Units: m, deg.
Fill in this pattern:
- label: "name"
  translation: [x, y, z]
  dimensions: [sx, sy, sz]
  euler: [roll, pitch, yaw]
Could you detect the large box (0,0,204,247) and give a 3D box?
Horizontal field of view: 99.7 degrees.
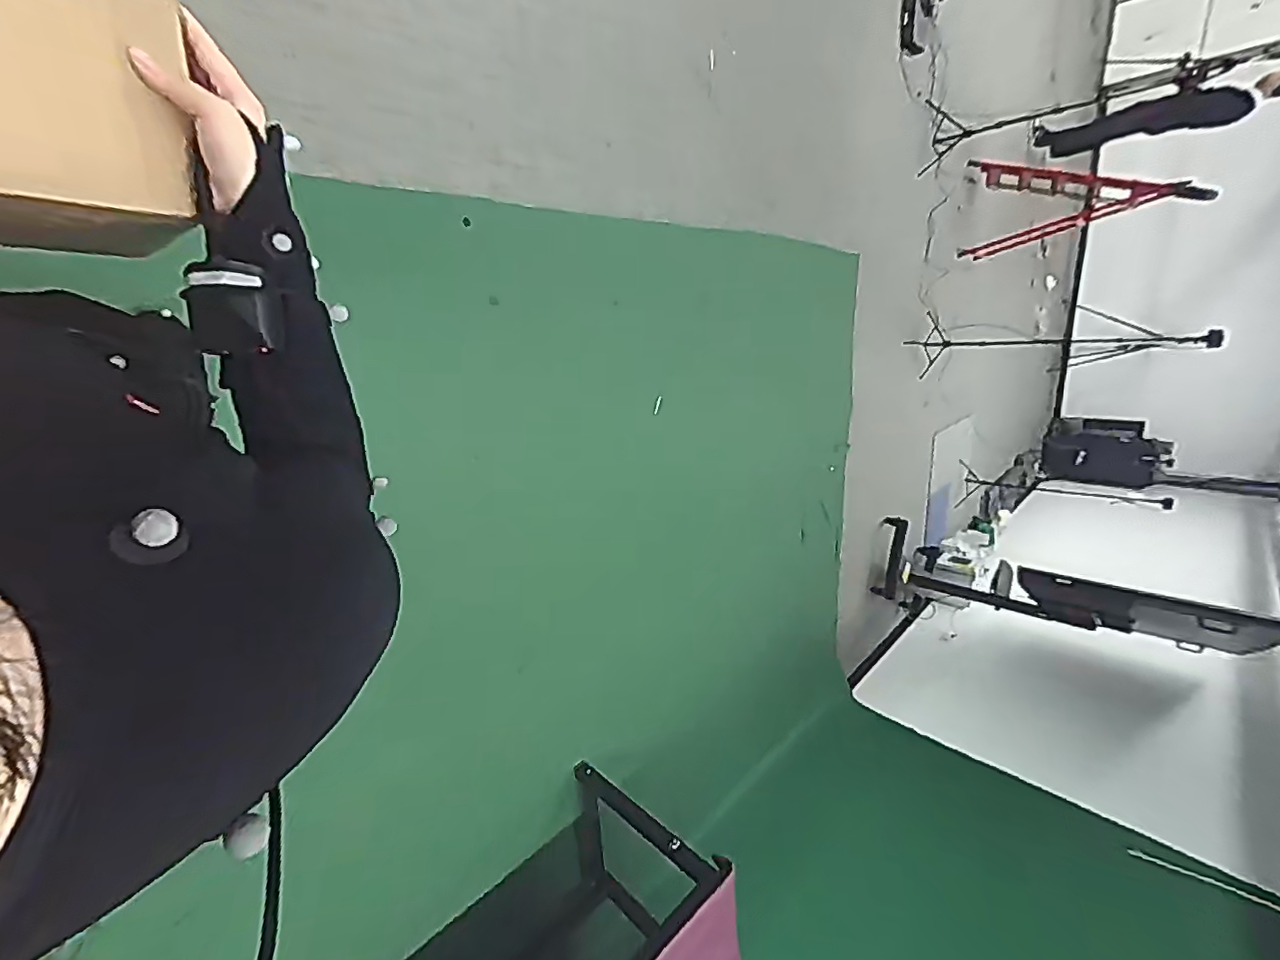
- label: "large box"
  translation: [-0.578, -0.340, 0.327]
  dimensions: [0.408, 0.320, 0.320]
  euler: [-16, 113, -47]
